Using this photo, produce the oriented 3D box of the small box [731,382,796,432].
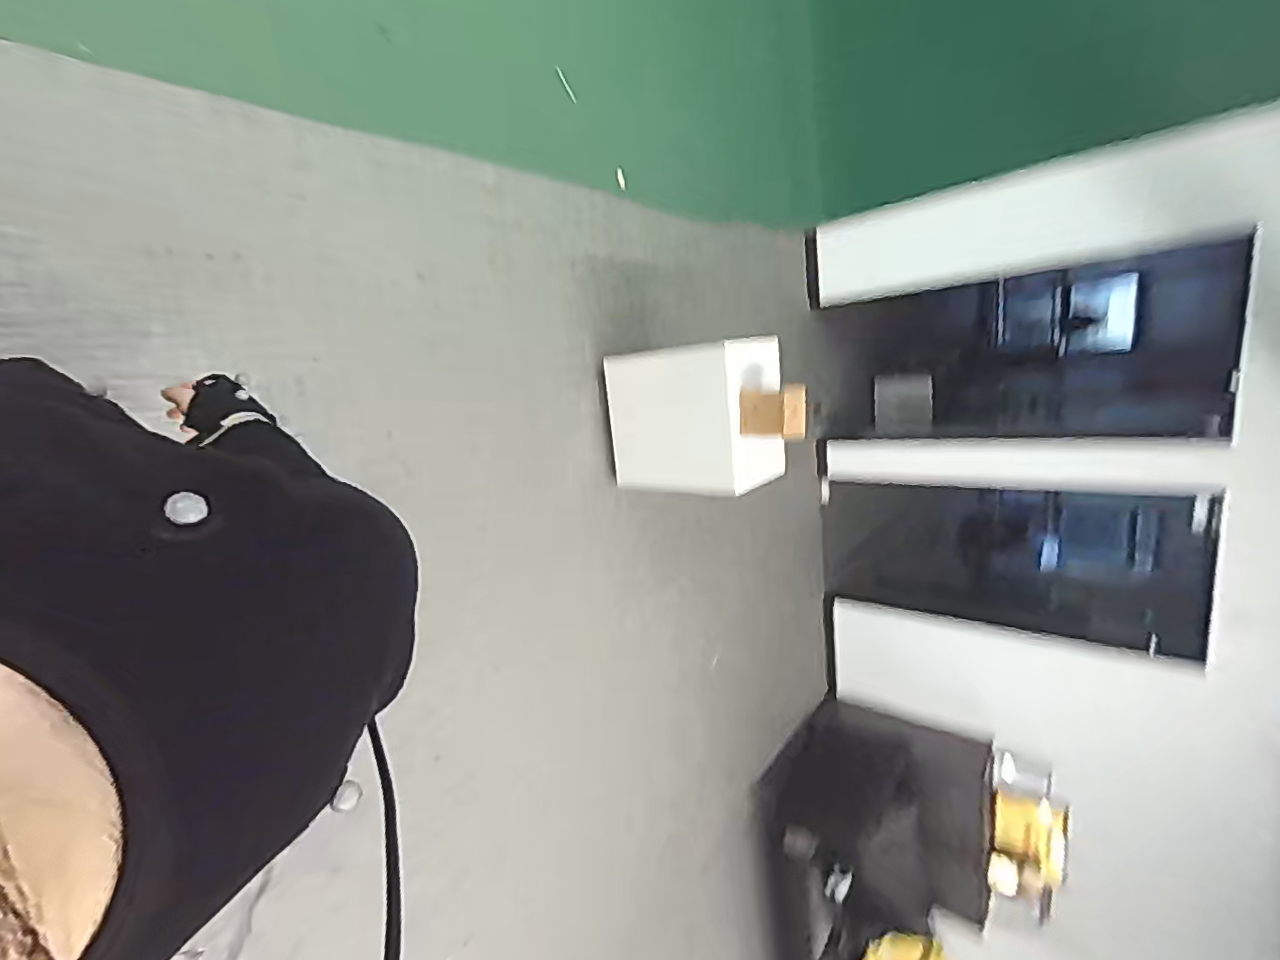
[{"bbox_3d":[0.431,-0.254,1.885,0.179,0.176,0.168,-11,102,-50],"label":"small box"}]
